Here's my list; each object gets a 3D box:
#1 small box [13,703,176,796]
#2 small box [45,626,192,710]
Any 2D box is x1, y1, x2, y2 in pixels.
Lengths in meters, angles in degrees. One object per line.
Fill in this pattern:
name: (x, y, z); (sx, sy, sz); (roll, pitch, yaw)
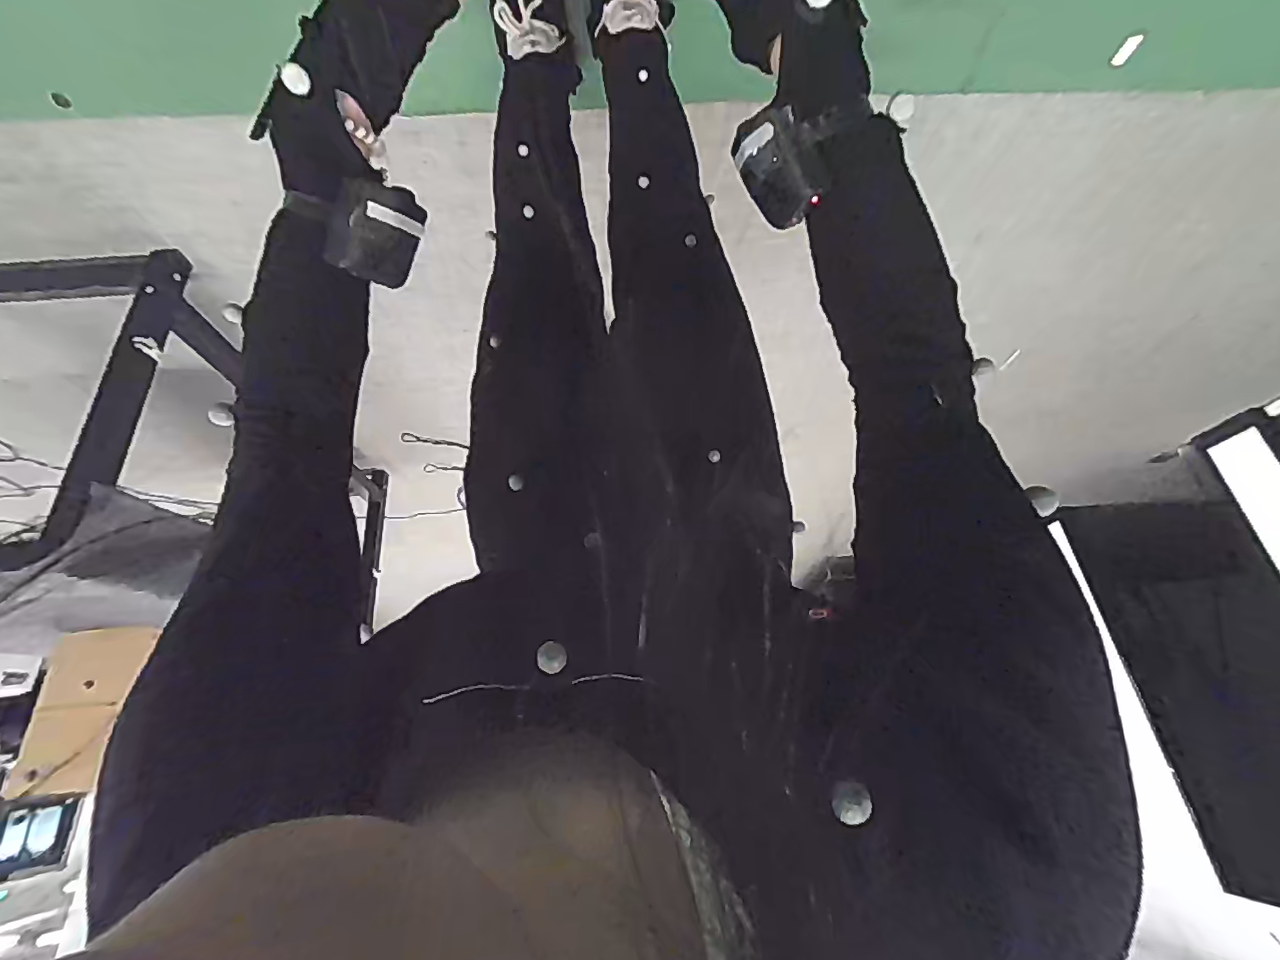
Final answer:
small box: (-1.199, 0.595, 1.206); (0.179, 0.176, 0.168); (-6, 156, -1)
small box: (-1.198, 0.440, 1.263); (0.179, 0.176, 0.168); (-4, 155, -2)
